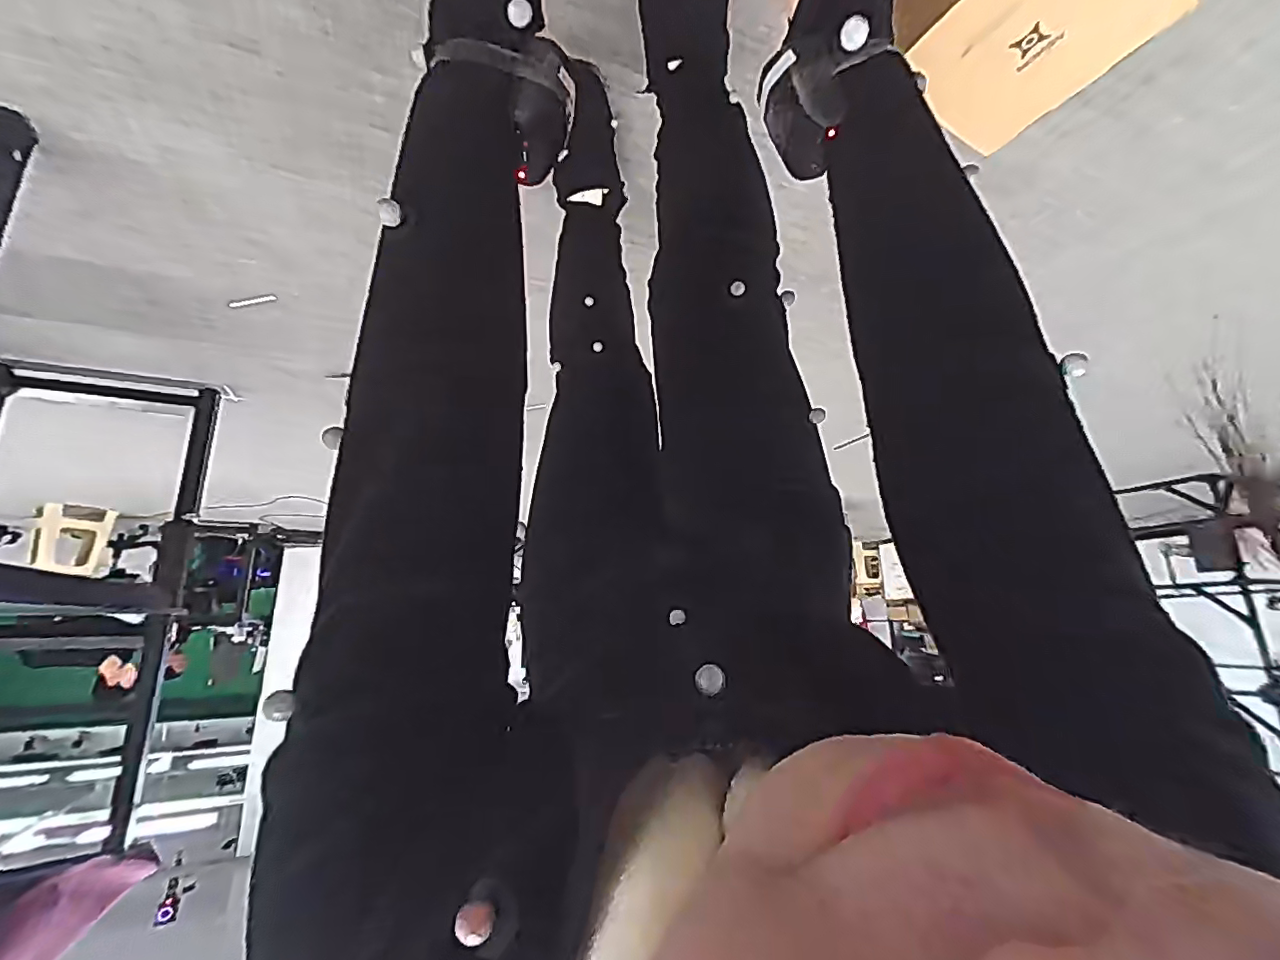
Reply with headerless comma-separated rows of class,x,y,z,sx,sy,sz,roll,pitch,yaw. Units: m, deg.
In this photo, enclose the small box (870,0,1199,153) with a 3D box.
small box,0.320,-0.437,0.461,0.179,0.176,0.168,7,162,-31
